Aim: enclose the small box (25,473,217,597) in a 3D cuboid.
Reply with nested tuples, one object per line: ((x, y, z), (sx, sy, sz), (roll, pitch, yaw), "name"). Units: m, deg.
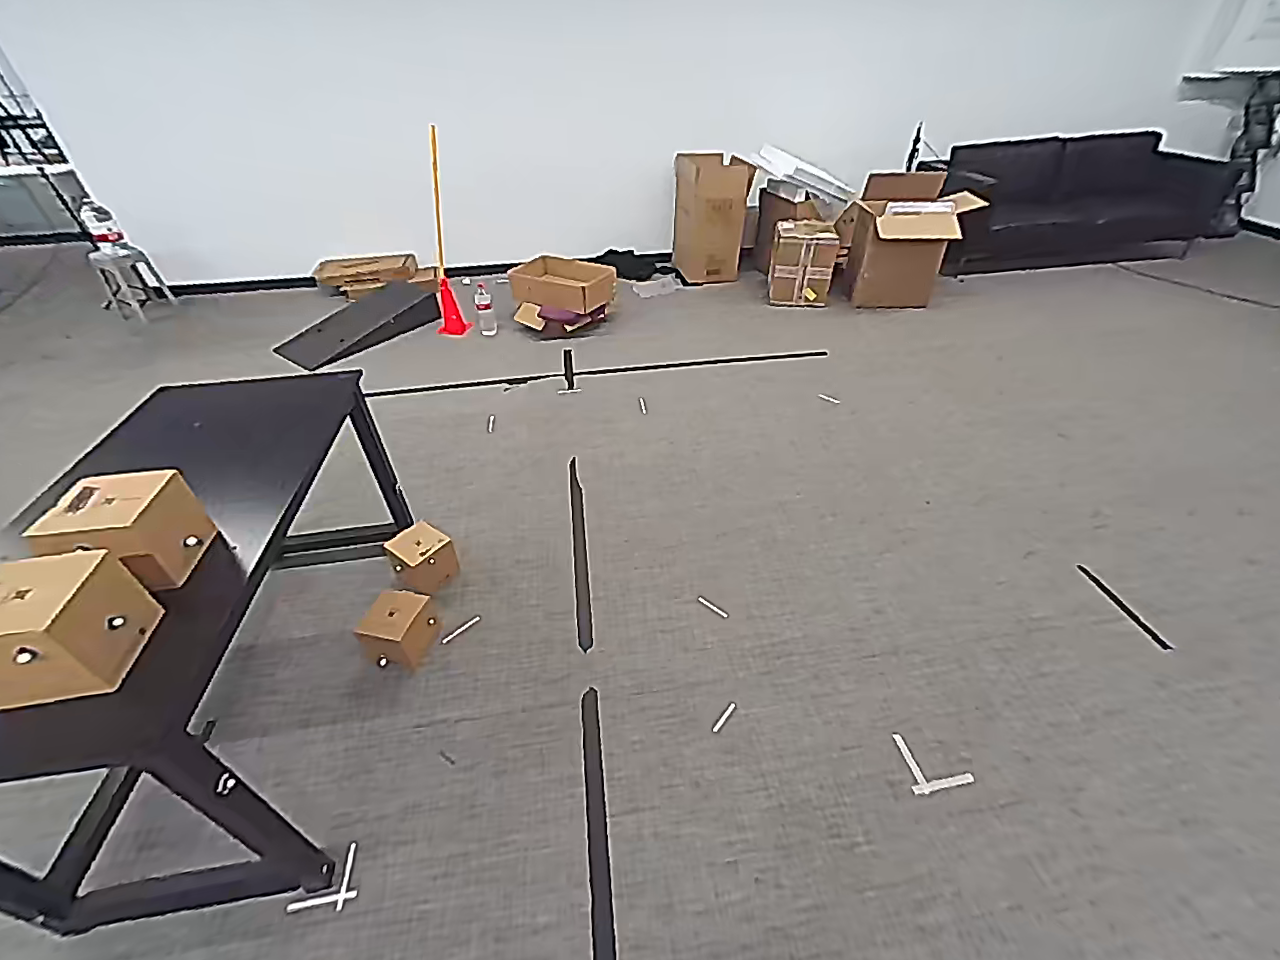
((-0.983, 0.109, 1.047), (0.179, 0.176, 0.168), (-6, 40, -6), "small box")

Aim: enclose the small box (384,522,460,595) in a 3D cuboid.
((-0.789, 0.289, 1.970), (0.179, 0.176, 0.168), (23, 46, 27), "small box")

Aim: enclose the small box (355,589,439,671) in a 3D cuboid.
((-0.768, 0.483, 1.738), (0.168, 0.176, 0.179), (6, 41, 11), "small box")
